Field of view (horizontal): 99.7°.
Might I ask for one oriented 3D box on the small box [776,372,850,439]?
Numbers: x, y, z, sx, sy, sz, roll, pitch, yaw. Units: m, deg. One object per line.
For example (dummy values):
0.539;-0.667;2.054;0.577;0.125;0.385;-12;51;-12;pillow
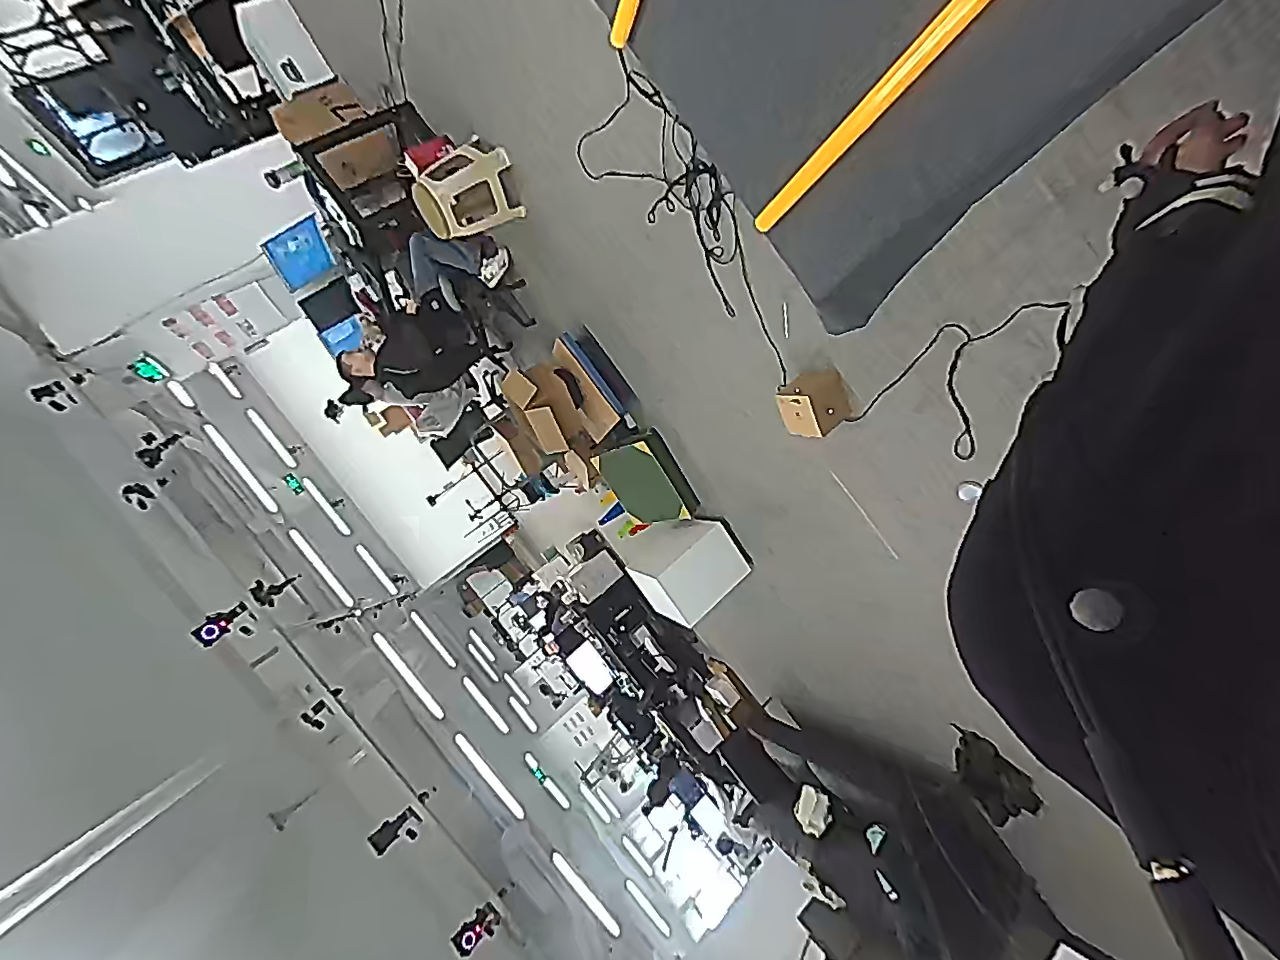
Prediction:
0.637;-0.275;1.973;0.168;0.176;0.179;18;142;59;small box
